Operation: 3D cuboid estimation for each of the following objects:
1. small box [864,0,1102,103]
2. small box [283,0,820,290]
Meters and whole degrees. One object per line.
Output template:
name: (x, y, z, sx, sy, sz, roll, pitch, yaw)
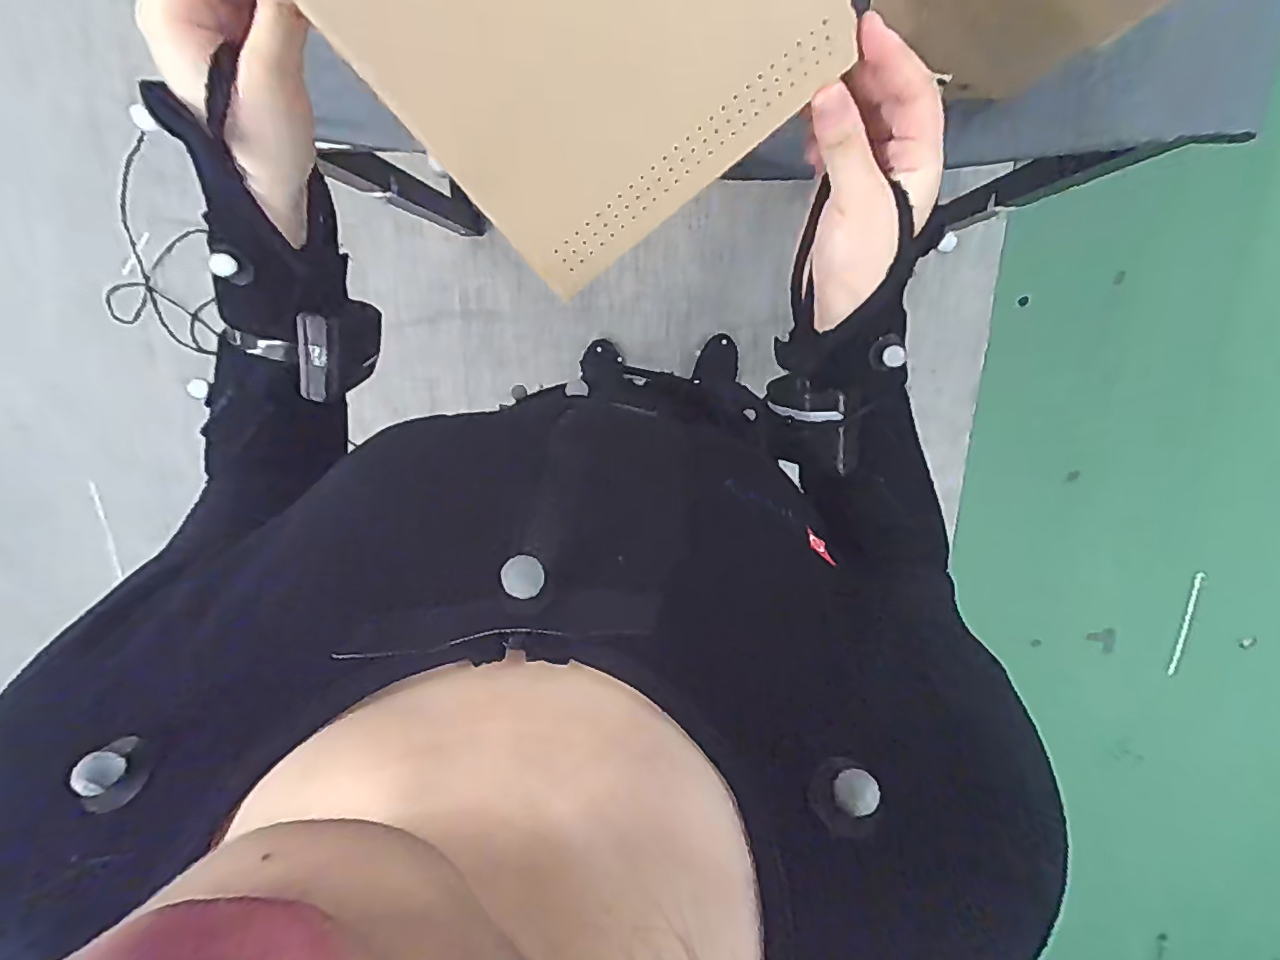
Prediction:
small box: (0.326, -0.490, 0.506, 0.168, 0.176, 0.179, 3, 105, 4)
small box: (-0.039, -0.229, 0.242, 0.179, 0.176, 0.168, -35, 55, 12)
